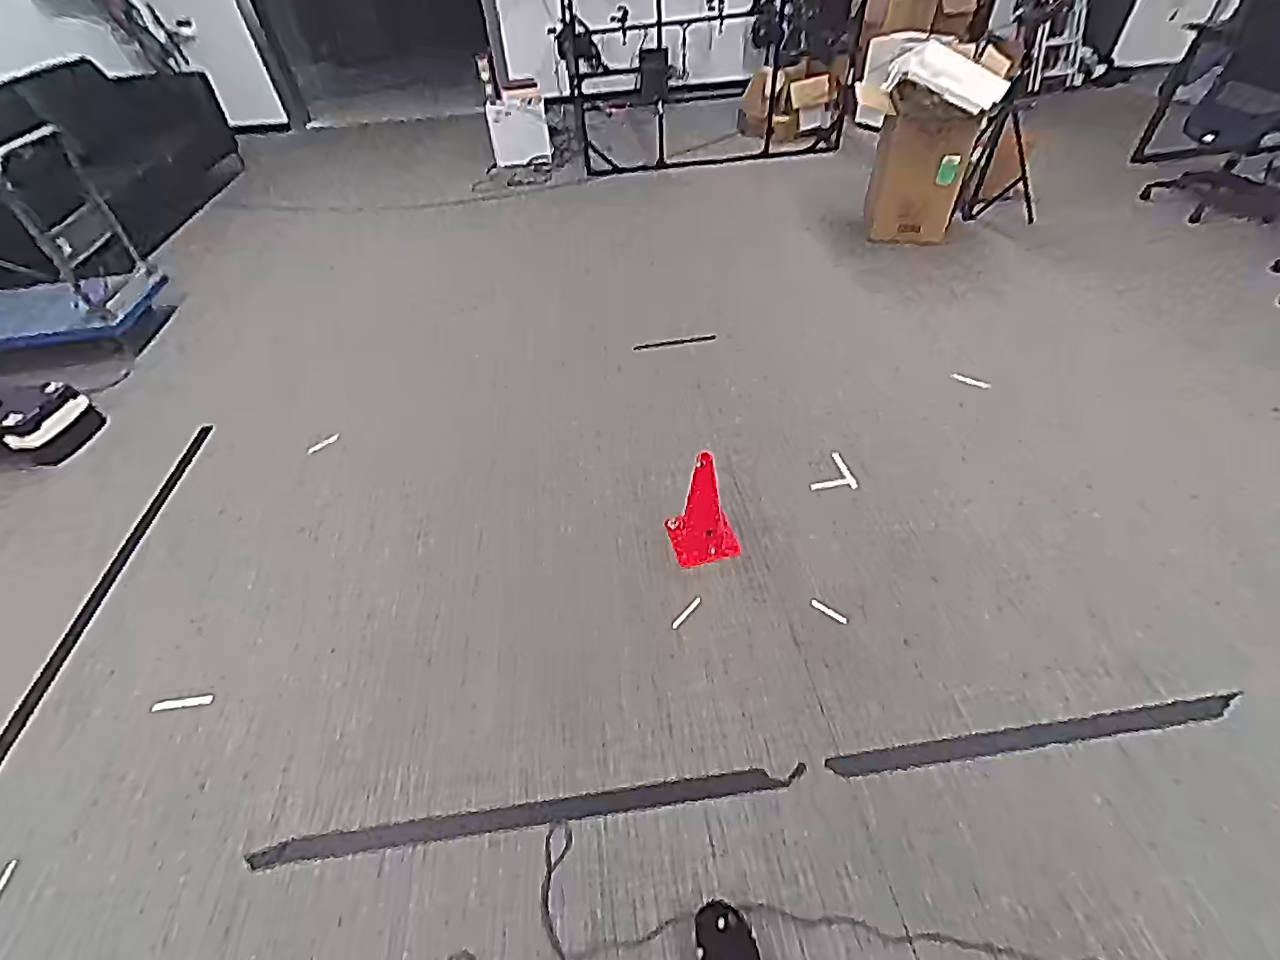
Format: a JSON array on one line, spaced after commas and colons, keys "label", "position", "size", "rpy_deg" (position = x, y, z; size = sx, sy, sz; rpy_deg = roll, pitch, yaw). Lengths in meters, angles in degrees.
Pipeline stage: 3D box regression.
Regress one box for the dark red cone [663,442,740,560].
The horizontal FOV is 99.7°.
[{"label": "dark red cone", "position": [0.181, 0.045, 1.568], "size": [0.202, 0.394, 0.201], "rpy_deg": [-14, 47, -9]}]
